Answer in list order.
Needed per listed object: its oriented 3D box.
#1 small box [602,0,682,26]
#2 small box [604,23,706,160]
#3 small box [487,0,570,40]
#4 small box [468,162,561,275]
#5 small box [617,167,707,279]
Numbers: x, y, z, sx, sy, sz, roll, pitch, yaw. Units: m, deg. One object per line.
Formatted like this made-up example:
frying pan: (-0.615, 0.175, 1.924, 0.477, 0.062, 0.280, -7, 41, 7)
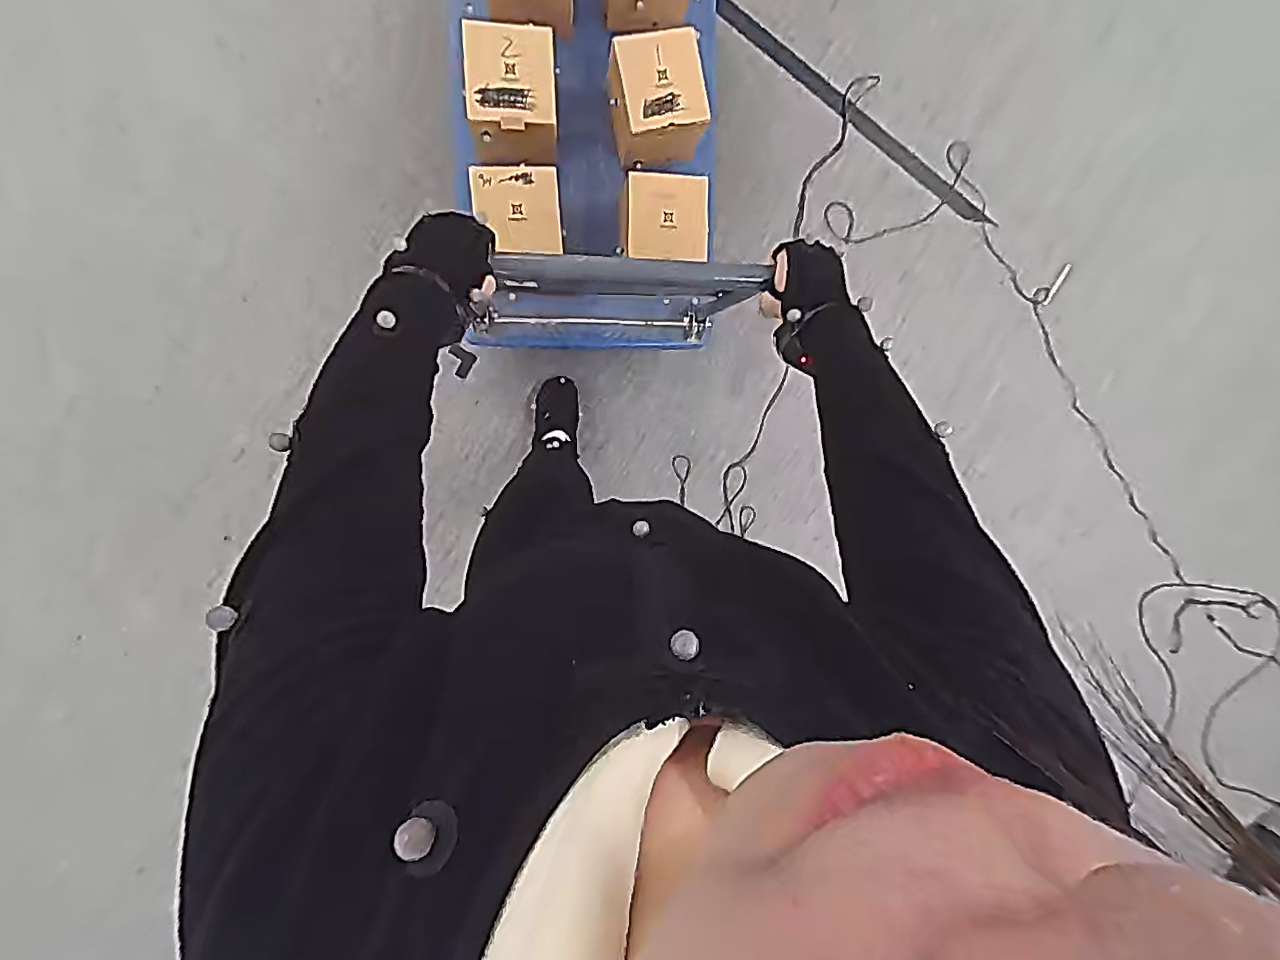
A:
small box: (0.008, -1.067, 1.097, 0.168, 0.176, 0.179, -5, 97, -9)
small box: (0.026, -0.798, 1.132, 0.168, 0.176, 0.179, -14, 98, -8)
small box: (-0.221, -1.024, 1.062, 0.168, 0.176, 0.179, 0, 98, -9)
small box: (-0.252, -0.529, 1.118, 0.168, 0.176, 0.179, -5, 98, -10)
small box: (0.042, -0.542, 1.166, 0.168, 0.176, 0.179, -1, 96, -10)
